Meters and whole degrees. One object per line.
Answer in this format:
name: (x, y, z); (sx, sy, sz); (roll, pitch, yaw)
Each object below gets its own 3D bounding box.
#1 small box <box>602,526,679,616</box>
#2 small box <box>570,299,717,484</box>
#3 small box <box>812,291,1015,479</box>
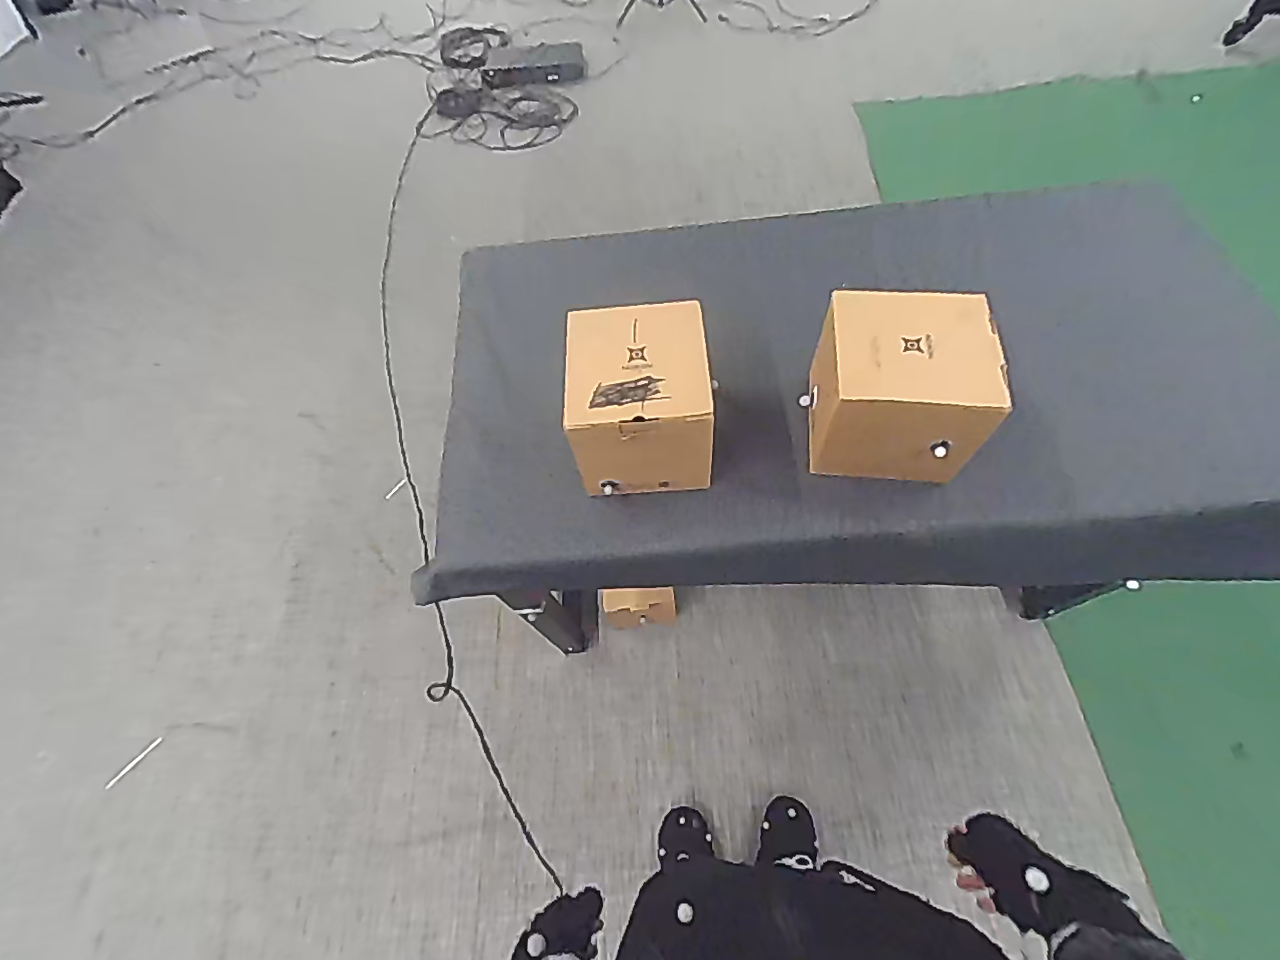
small box: (0.005, 0.234, 1.350); (0.168, 0.176, 0.179); (-9, 64, 0)
small box: (0.010, -0.103, 0.697); (0.168, 0.176, 0.179); (-3, 61, 3)
small box: (0.322, -0.112, 0.677); (0.179, 0.176, 0.168); (4, 62, 8)
